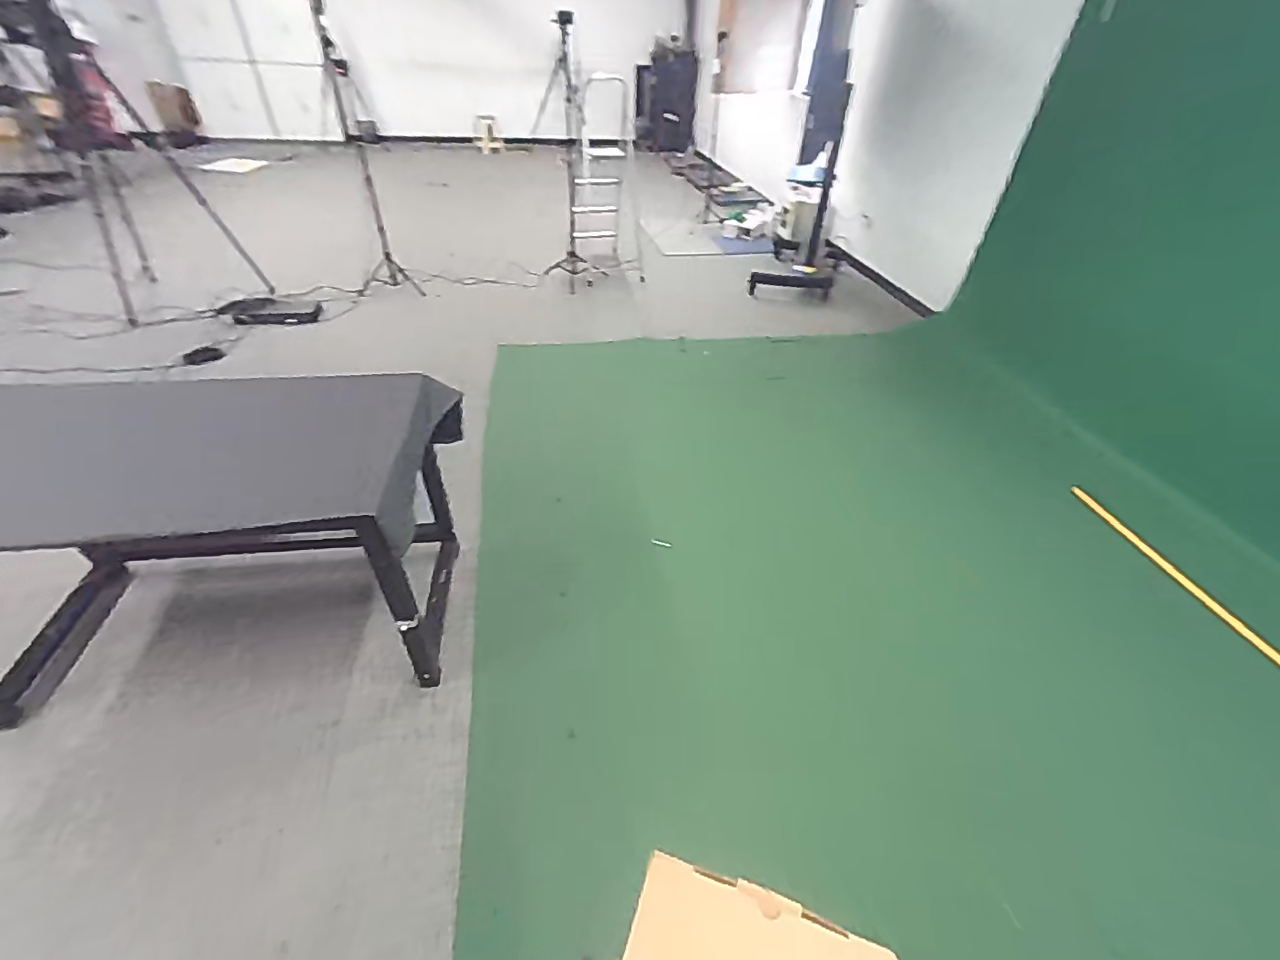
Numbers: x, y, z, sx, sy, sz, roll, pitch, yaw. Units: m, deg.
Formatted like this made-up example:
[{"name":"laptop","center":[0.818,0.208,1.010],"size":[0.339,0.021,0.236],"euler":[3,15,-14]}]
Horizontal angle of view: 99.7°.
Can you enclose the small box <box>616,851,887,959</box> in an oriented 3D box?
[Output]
[{"name":"small box","center":[0.053,0.396,0.356],"size":[0.168,0.176,0.179],"euler":[14,42,14]}]
